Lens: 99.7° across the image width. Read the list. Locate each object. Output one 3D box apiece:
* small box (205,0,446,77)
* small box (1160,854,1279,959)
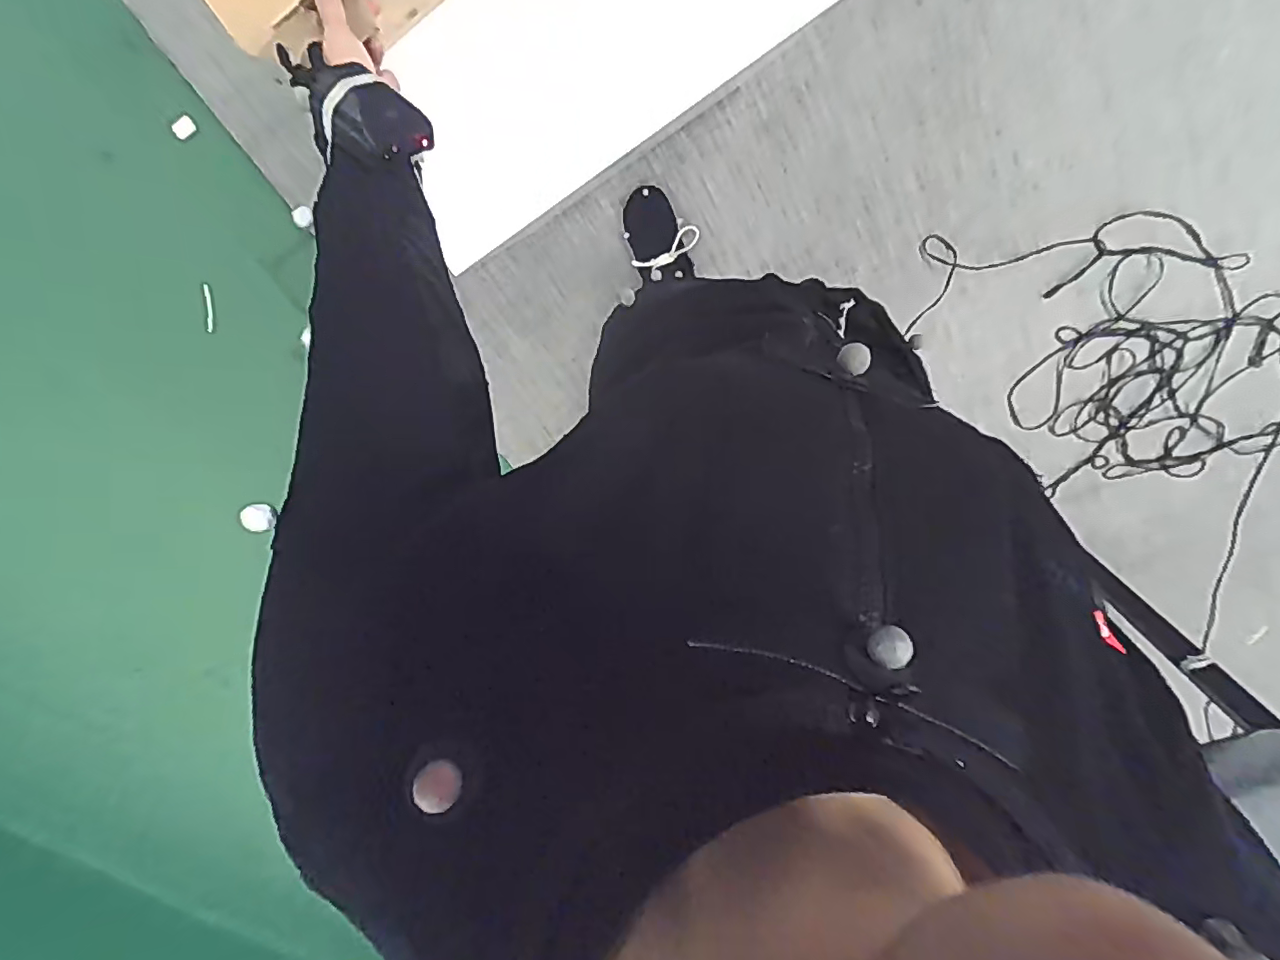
[{"bbox_3d":[-0.282,-0.472,0.436,0.168,0.176,0.179,-28,117,15],"label":"small box"},{"bbox_3d":[1.146,0.854,1.029,0.179,0.176,0.168,-25,118,13],"label":"small box"}]
